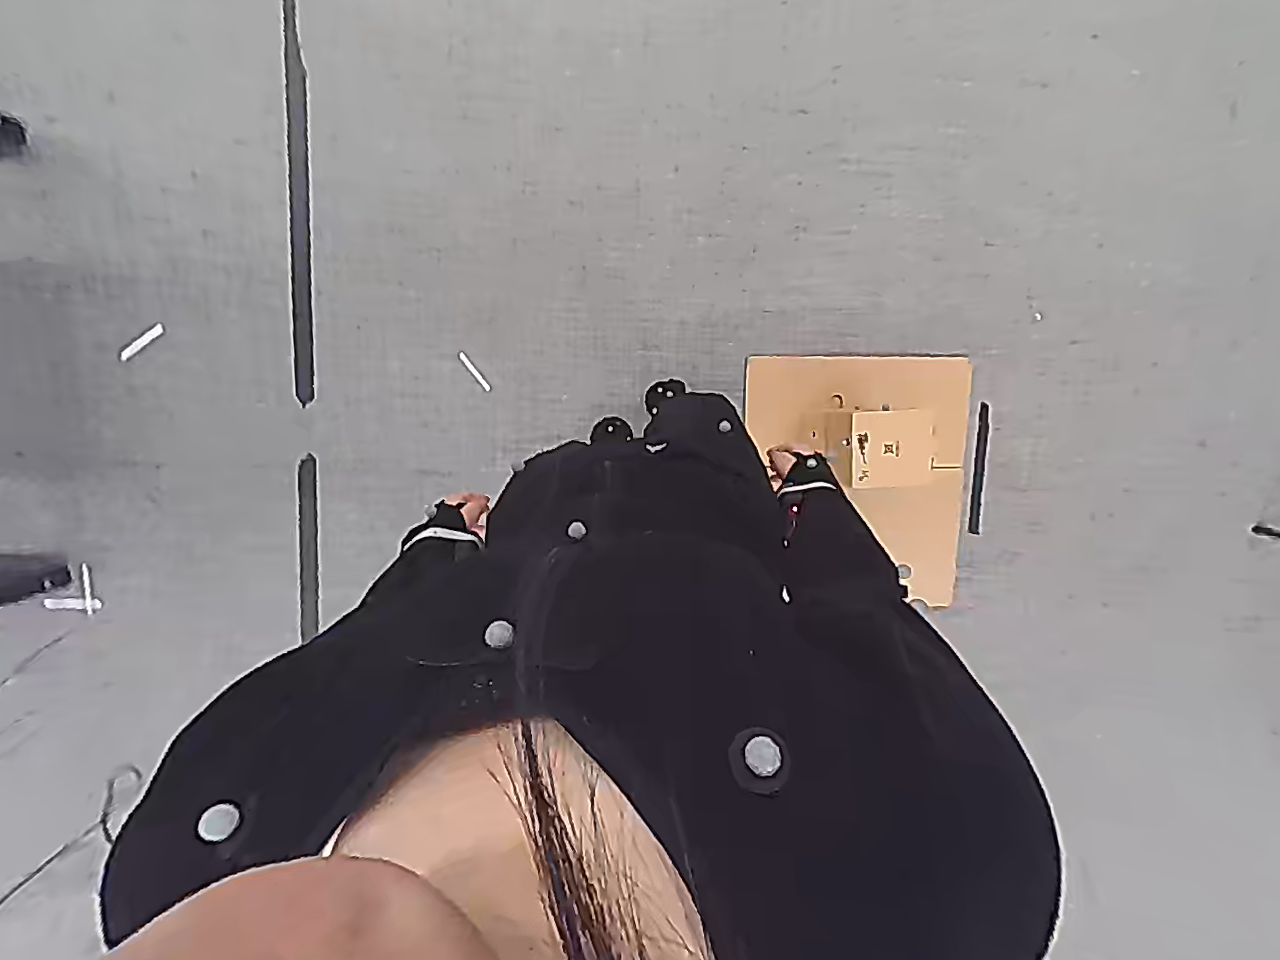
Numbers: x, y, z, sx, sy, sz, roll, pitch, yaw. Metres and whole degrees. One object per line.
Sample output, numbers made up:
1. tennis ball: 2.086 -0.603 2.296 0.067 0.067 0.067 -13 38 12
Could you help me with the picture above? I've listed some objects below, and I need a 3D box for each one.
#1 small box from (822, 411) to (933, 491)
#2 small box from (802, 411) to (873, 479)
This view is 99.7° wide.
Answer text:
1. small box: 0.529 -0.070 1.223 0.179 0.176 0.168 -3 97 -1
2. small box: 0.523 -0.092 1.386 0.179 0.176 0.168 -1 98 -1
